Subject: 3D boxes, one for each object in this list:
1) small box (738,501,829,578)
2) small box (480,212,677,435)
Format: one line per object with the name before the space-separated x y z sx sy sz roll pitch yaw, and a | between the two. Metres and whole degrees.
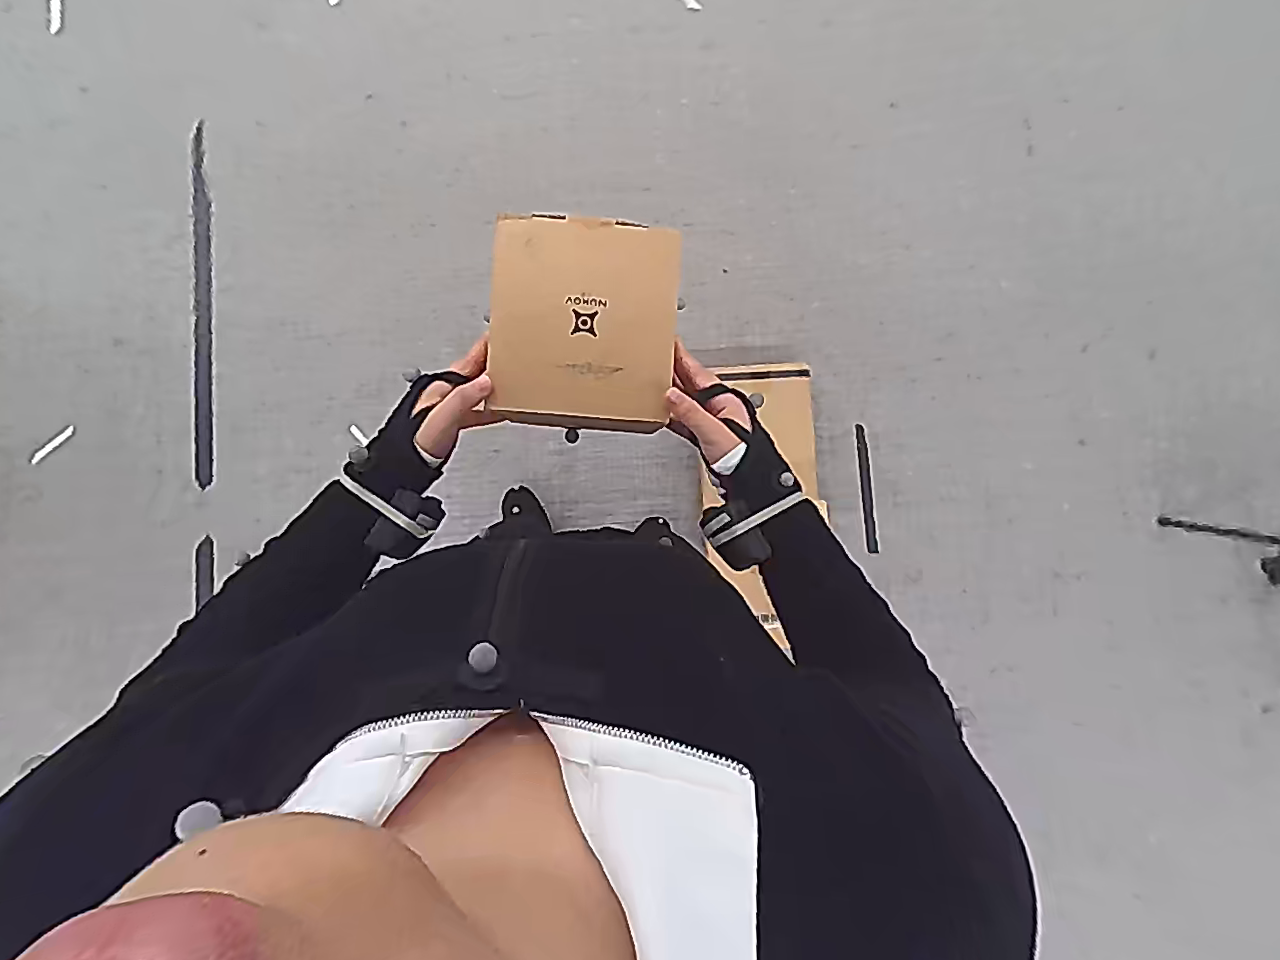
small box | 0.342 0.143 1.321 0.179 0.176 0.168 -5 87 -1
small box | -0.060 -0.143 0.556 0.168 0.176 0.179 3 92 -4
